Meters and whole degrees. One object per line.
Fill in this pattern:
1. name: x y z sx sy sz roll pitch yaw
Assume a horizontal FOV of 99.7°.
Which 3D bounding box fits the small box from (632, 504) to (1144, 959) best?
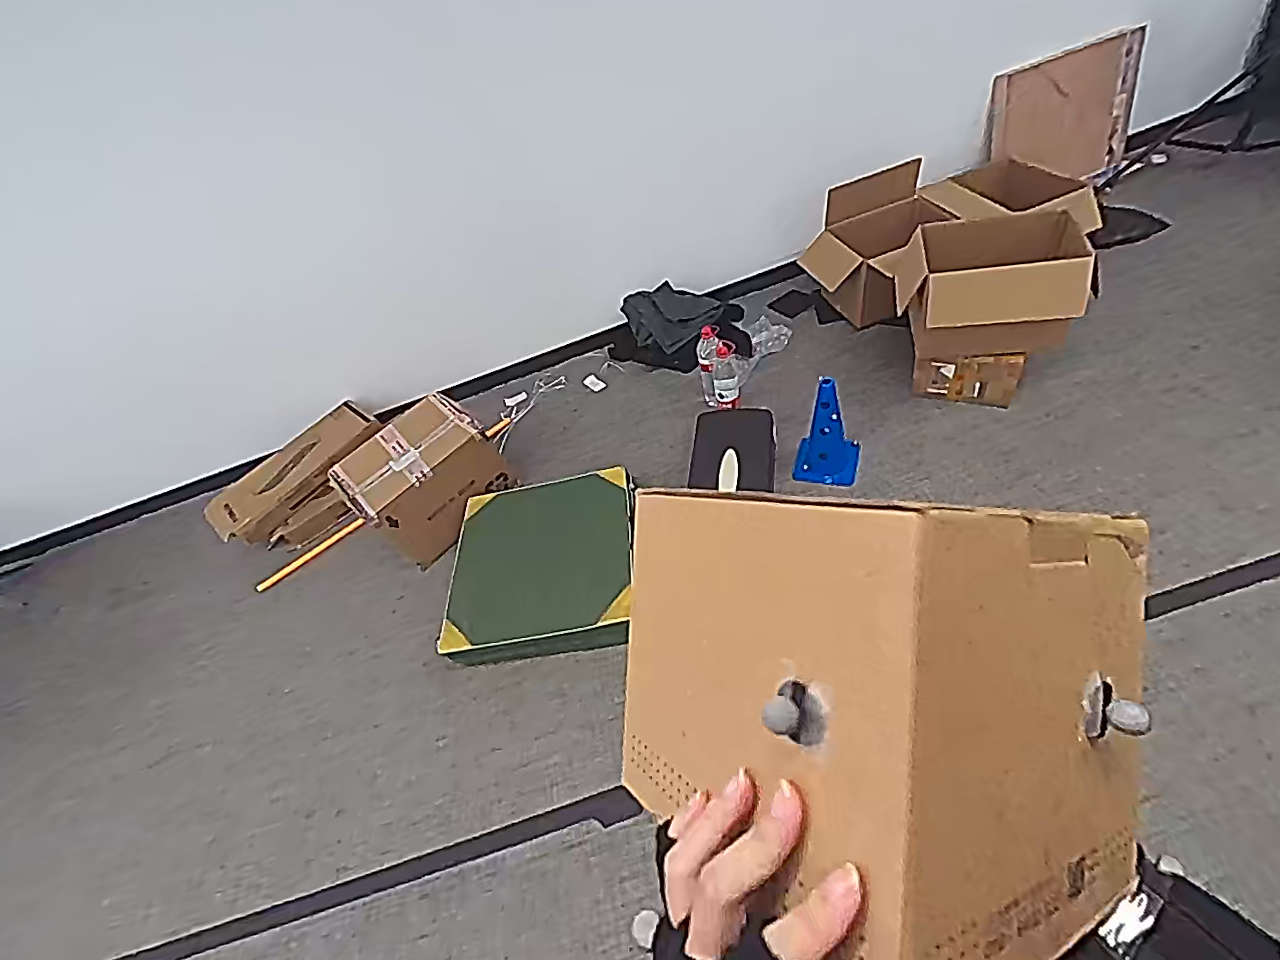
1. small box: 0.109 0.103 0.273 0.179 0.168 0.176 1 87 59
